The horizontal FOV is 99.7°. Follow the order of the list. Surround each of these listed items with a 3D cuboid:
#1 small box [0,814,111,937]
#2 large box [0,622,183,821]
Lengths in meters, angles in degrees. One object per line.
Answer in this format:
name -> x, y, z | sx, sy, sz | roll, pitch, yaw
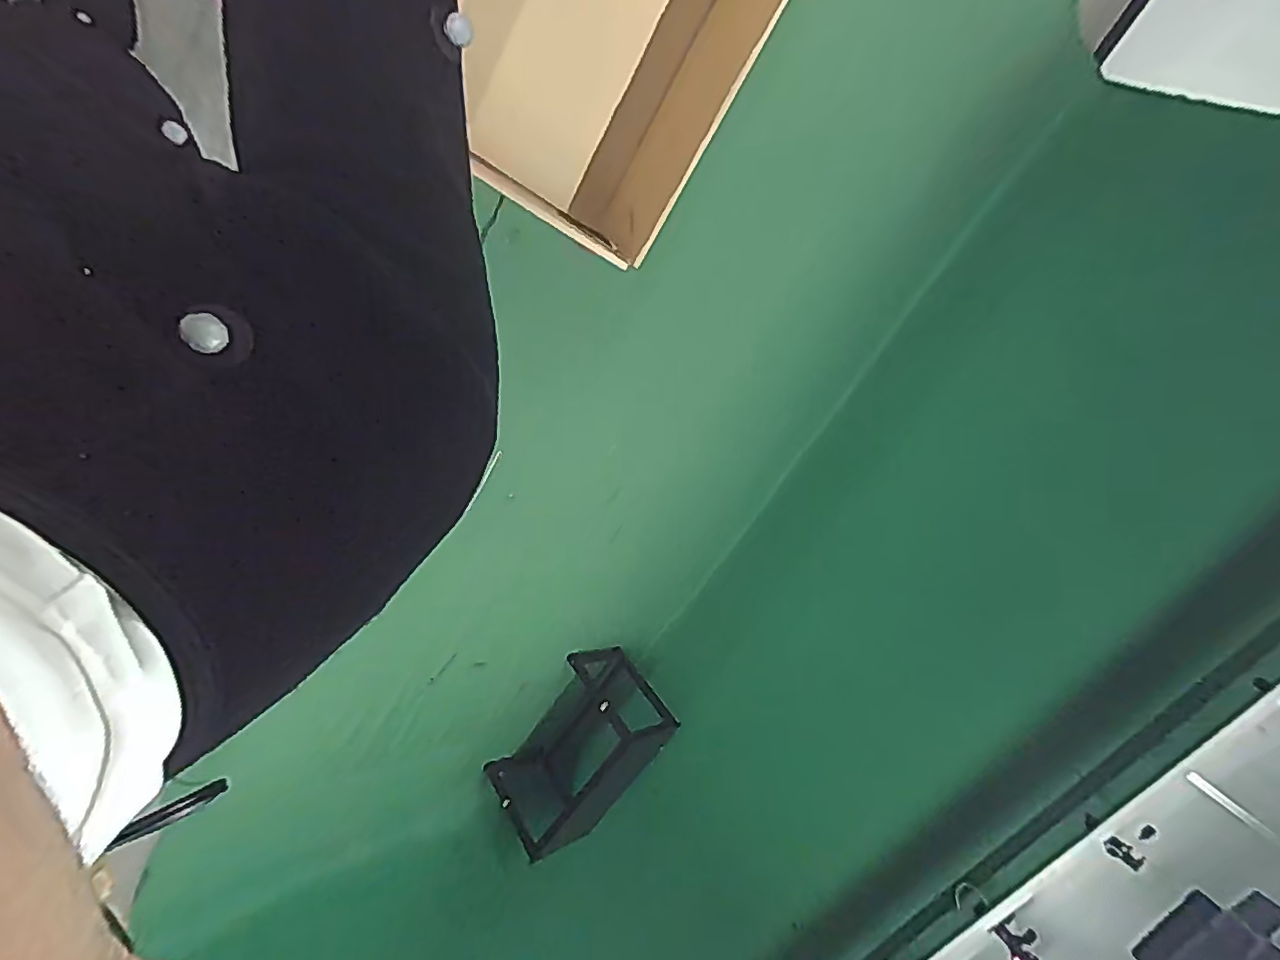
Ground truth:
small box -> -1.510, 1.006, 1.388 | 0.179, 0.176, 0.168 | -17, 138, -36
large box -> -1.695, 0.704, 1.612 | 0.408, 0.320, 0.320 | -24, 143, -32
